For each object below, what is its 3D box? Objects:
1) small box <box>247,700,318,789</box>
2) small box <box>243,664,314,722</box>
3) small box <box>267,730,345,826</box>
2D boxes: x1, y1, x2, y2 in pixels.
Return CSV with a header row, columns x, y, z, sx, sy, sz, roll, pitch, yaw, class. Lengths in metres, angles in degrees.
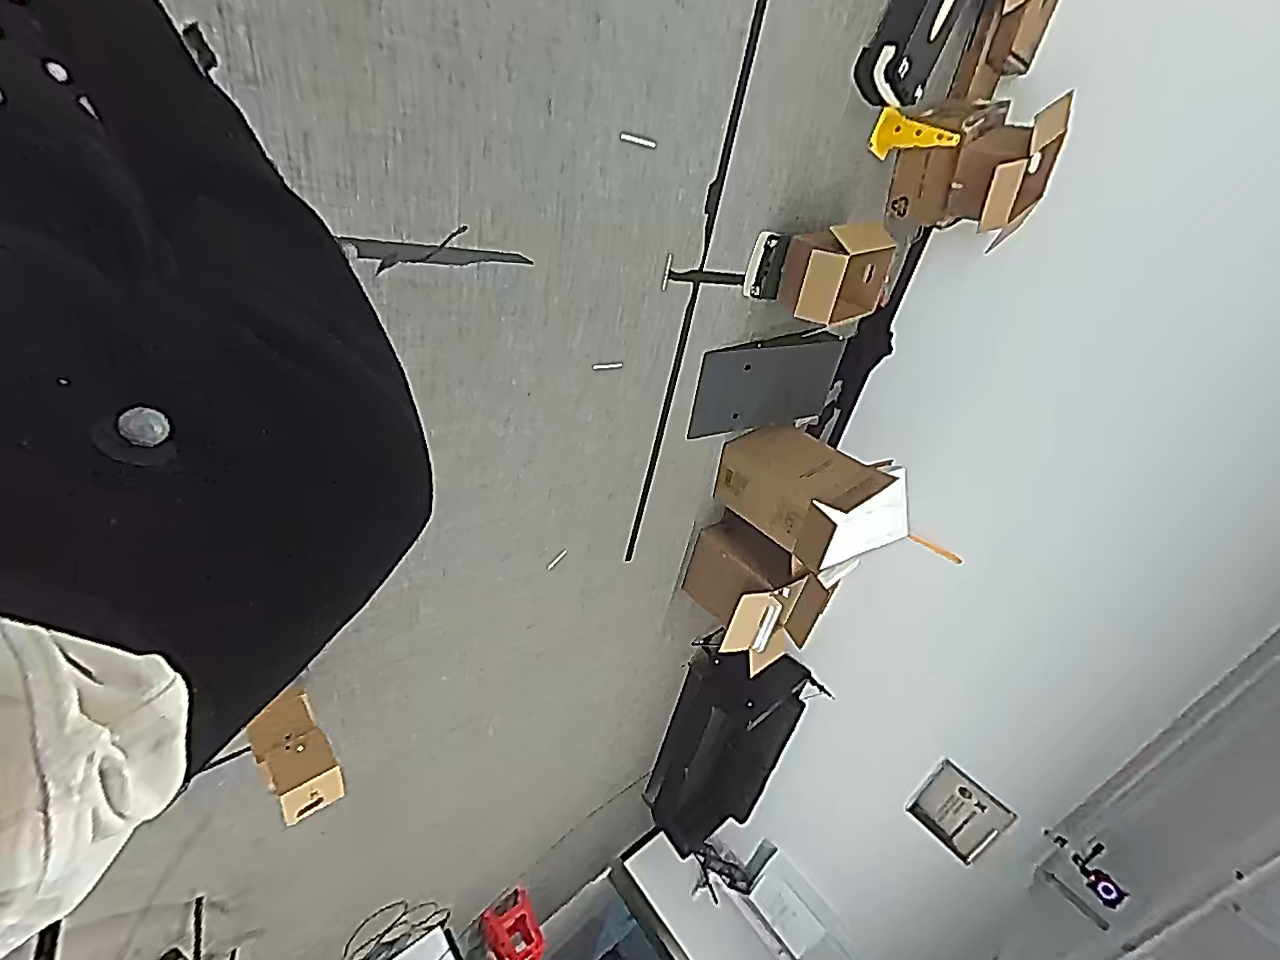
x,y,z,sx,sy,sz,roll,pitch,yaw,class
-1.185,0.882,1.818,0.179,0.176,0.168,-21,134,-37,small box
-1.281,0.795,1.918,0.168,0.176,0.179,-20,133,-38,small box
-1.062,0.941,1.721,0.168,0.176,0.179,-18,132,-40,small box
